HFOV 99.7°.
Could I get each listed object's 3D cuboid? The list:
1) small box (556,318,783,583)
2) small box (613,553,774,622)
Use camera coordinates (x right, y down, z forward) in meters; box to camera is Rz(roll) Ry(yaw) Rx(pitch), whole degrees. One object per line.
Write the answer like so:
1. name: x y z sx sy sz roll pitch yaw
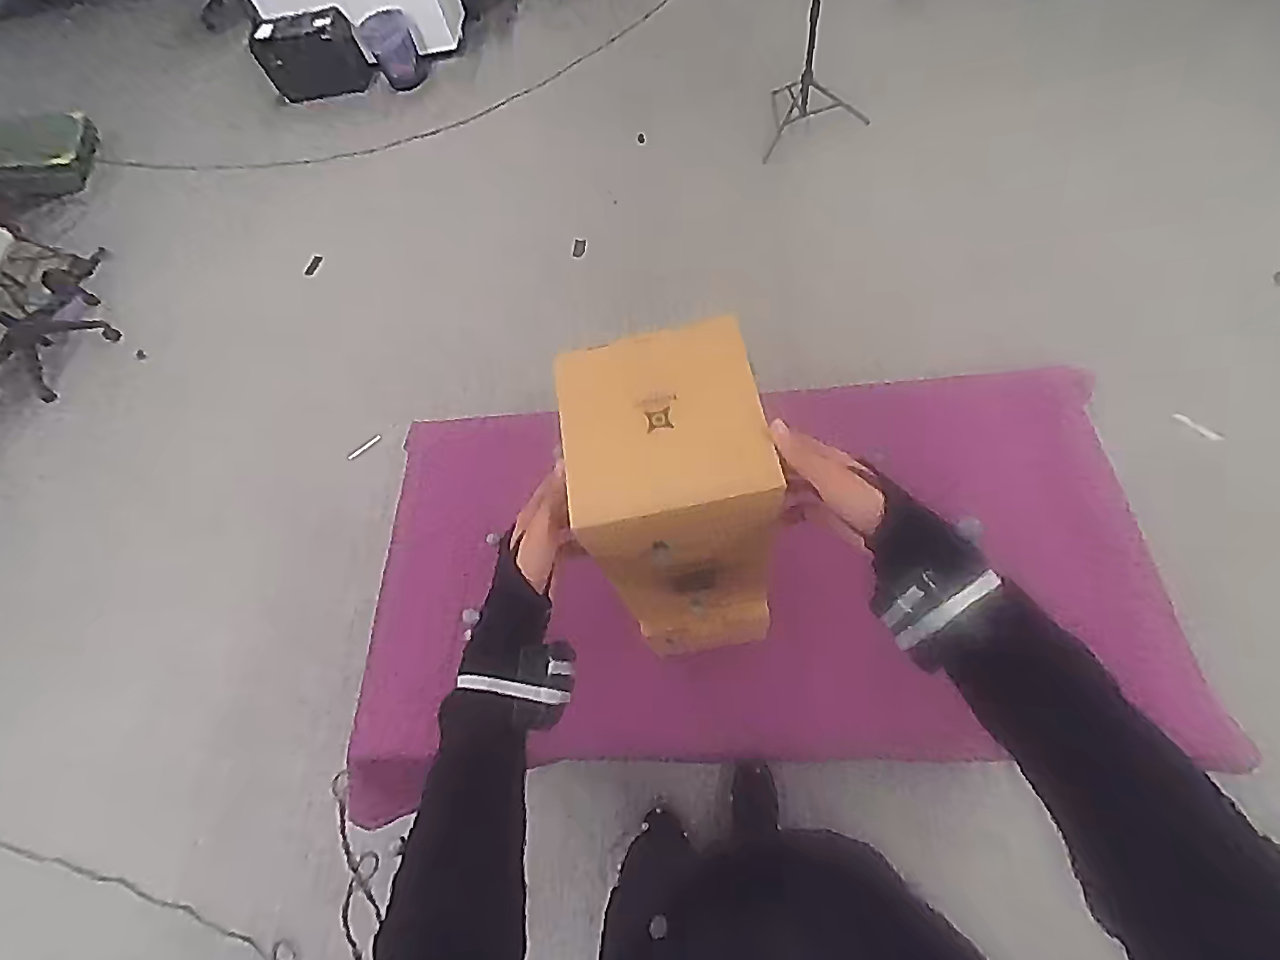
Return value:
1. small box: 0.029 -0.014 0.508 0.168 0.176 0.179 -13 60 4
2. small box: 0.058 0.057 0.652 0.168 0.176 0.179 -10 62 6
